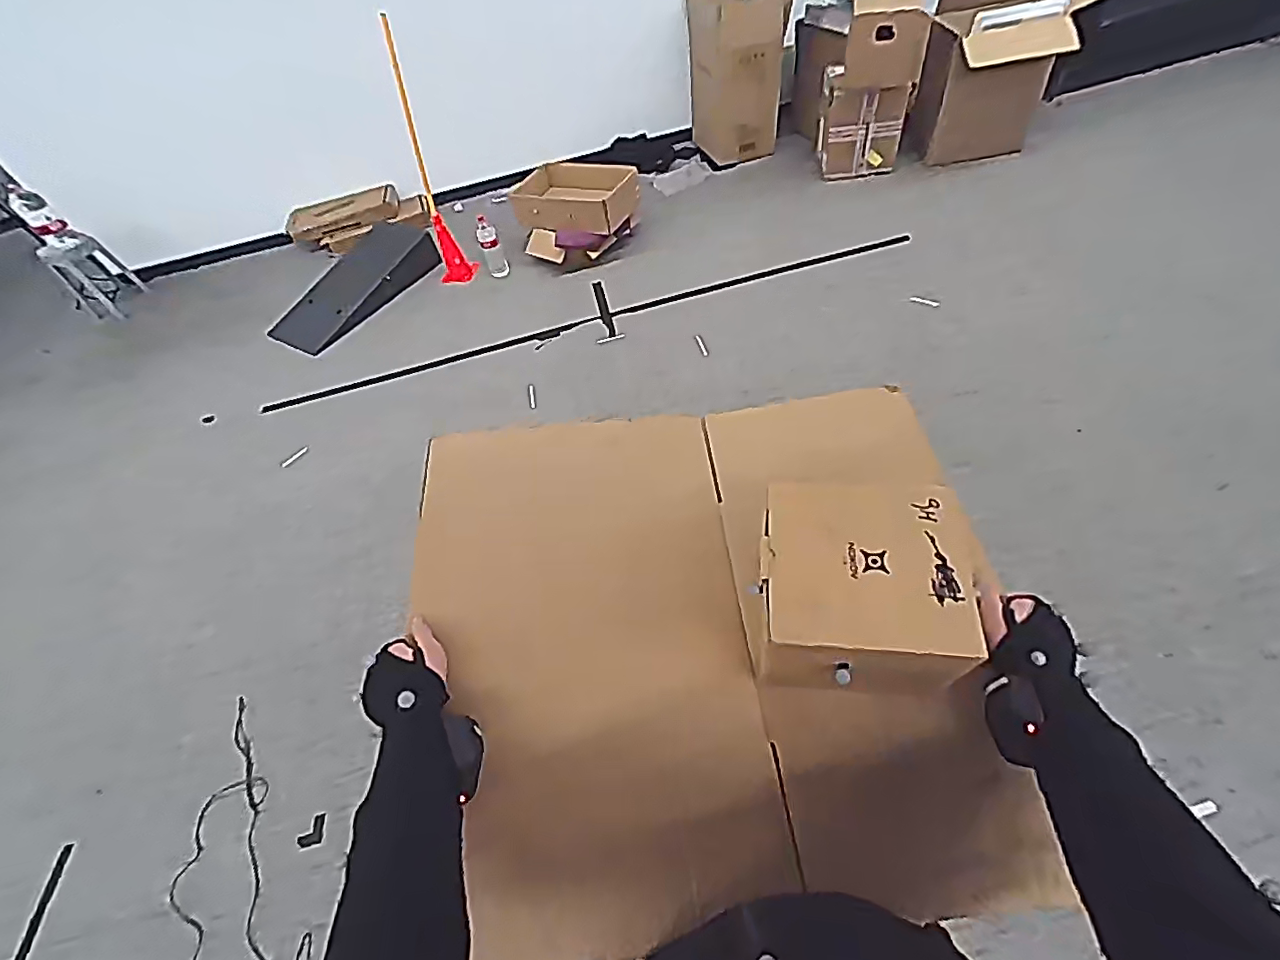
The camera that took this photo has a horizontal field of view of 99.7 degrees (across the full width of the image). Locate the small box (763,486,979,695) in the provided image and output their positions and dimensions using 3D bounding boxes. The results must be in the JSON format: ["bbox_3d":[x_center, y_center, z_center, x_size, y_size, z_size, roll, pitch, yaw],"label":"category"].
[{"bbox_3d":[0.220,0.120,0.569,0.179,0.176,0.168,0,58,12],"label":"small box"}]
